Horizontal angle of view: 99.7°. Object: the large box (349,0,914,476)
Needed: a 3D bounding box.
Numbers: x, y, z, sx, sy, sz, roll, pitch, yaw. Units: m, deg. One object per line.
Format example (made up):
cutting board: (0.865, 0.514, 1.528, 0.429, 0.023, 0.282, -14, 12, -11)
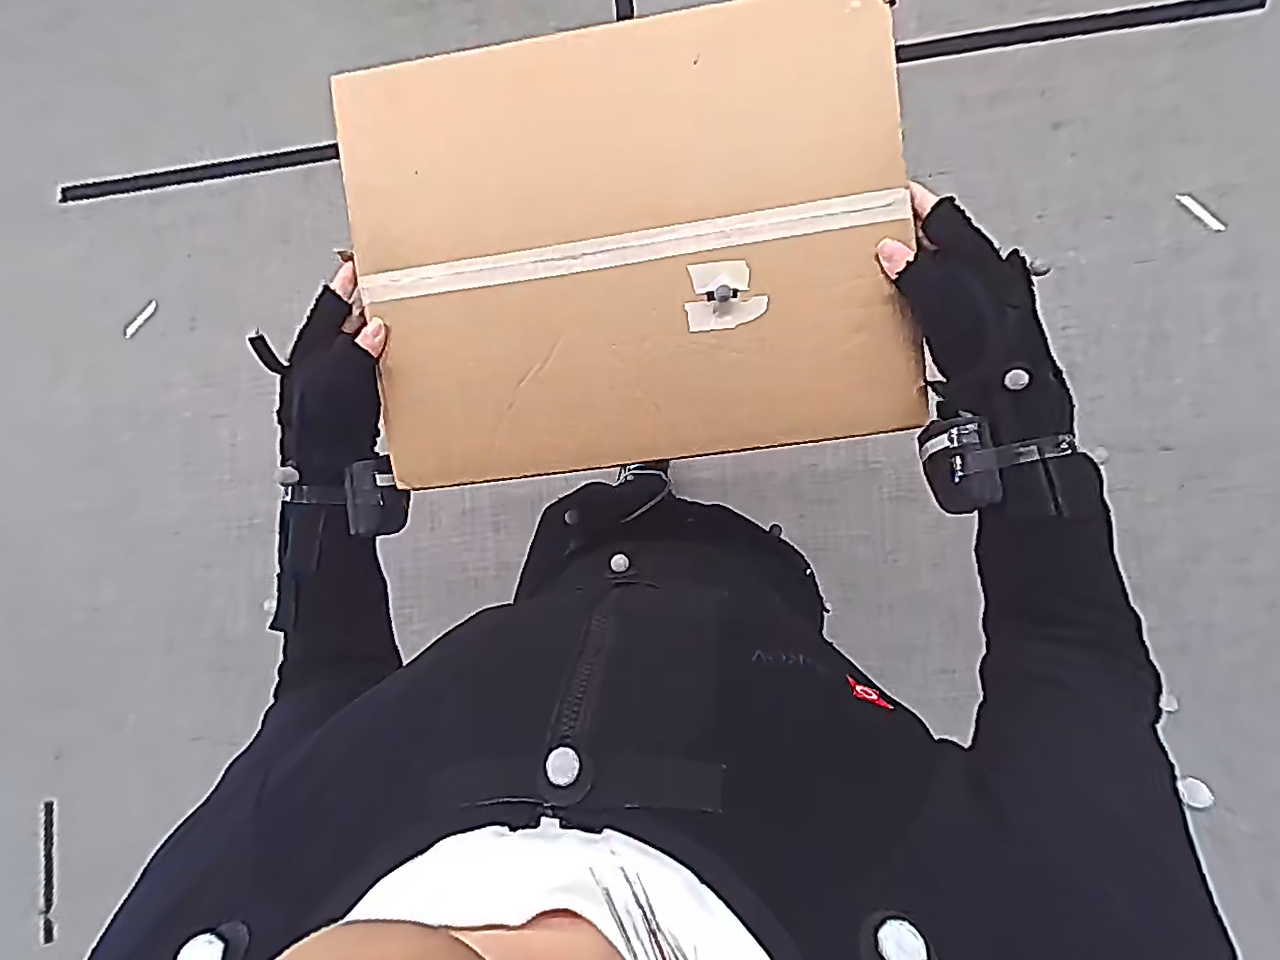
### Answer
large box: (-0.002, -0.192, 0.558, 0.408, 0.320, 0.320, -7, 95, 4)
